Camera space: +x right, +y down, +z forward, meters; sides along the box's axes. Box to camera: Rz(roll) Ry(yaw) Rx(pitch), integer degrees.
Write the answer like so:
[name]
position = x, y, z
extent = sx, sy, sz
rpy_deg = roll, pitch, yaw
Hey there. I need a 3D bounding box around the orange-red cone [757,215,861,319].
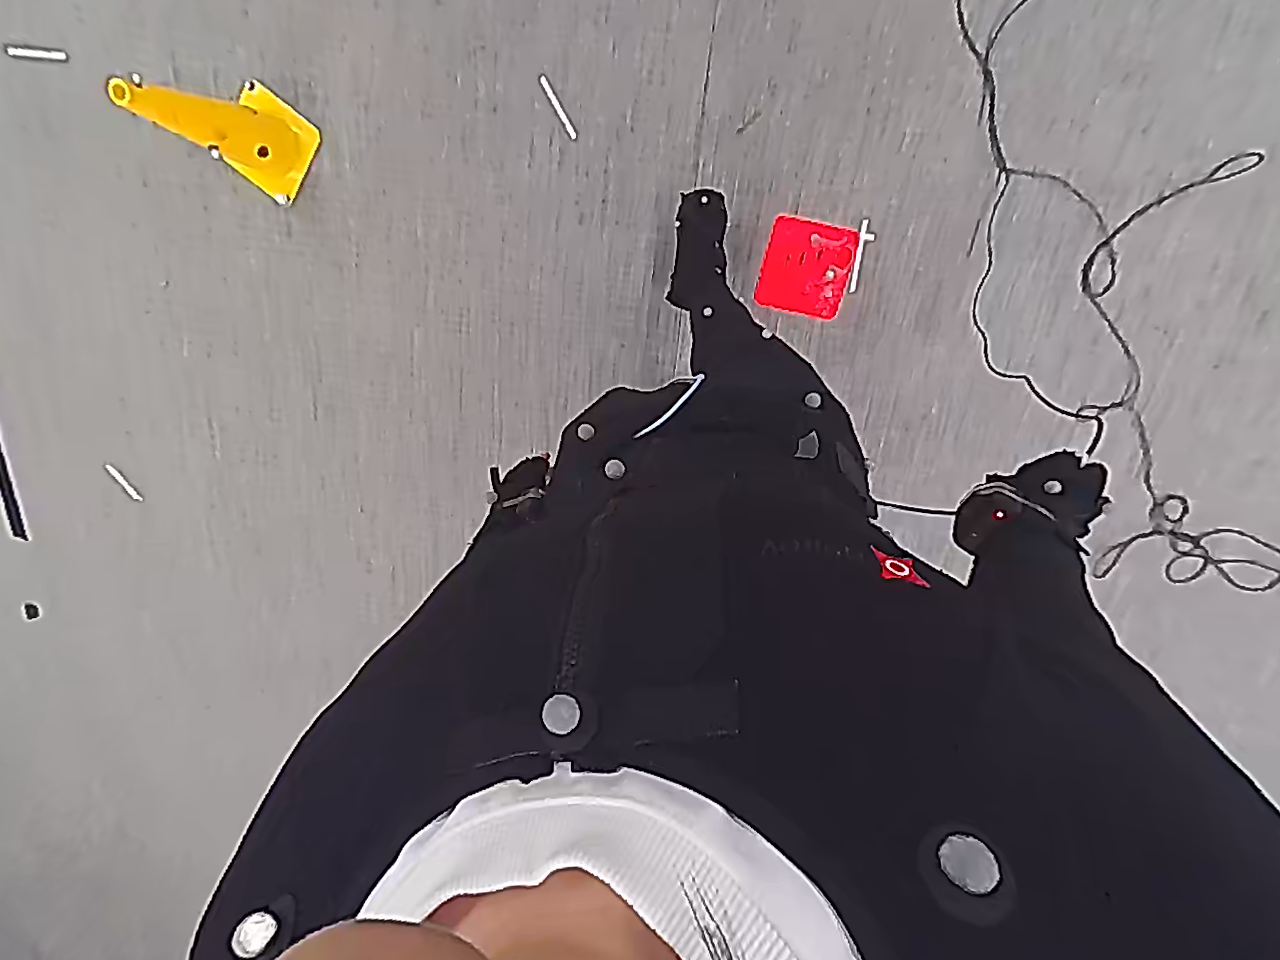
[orange-red cone]
position = 0.364, -0.436, 1.077
extent = 0.199, 0.360, 0.198
rpy_deg = 15, 108, 3
